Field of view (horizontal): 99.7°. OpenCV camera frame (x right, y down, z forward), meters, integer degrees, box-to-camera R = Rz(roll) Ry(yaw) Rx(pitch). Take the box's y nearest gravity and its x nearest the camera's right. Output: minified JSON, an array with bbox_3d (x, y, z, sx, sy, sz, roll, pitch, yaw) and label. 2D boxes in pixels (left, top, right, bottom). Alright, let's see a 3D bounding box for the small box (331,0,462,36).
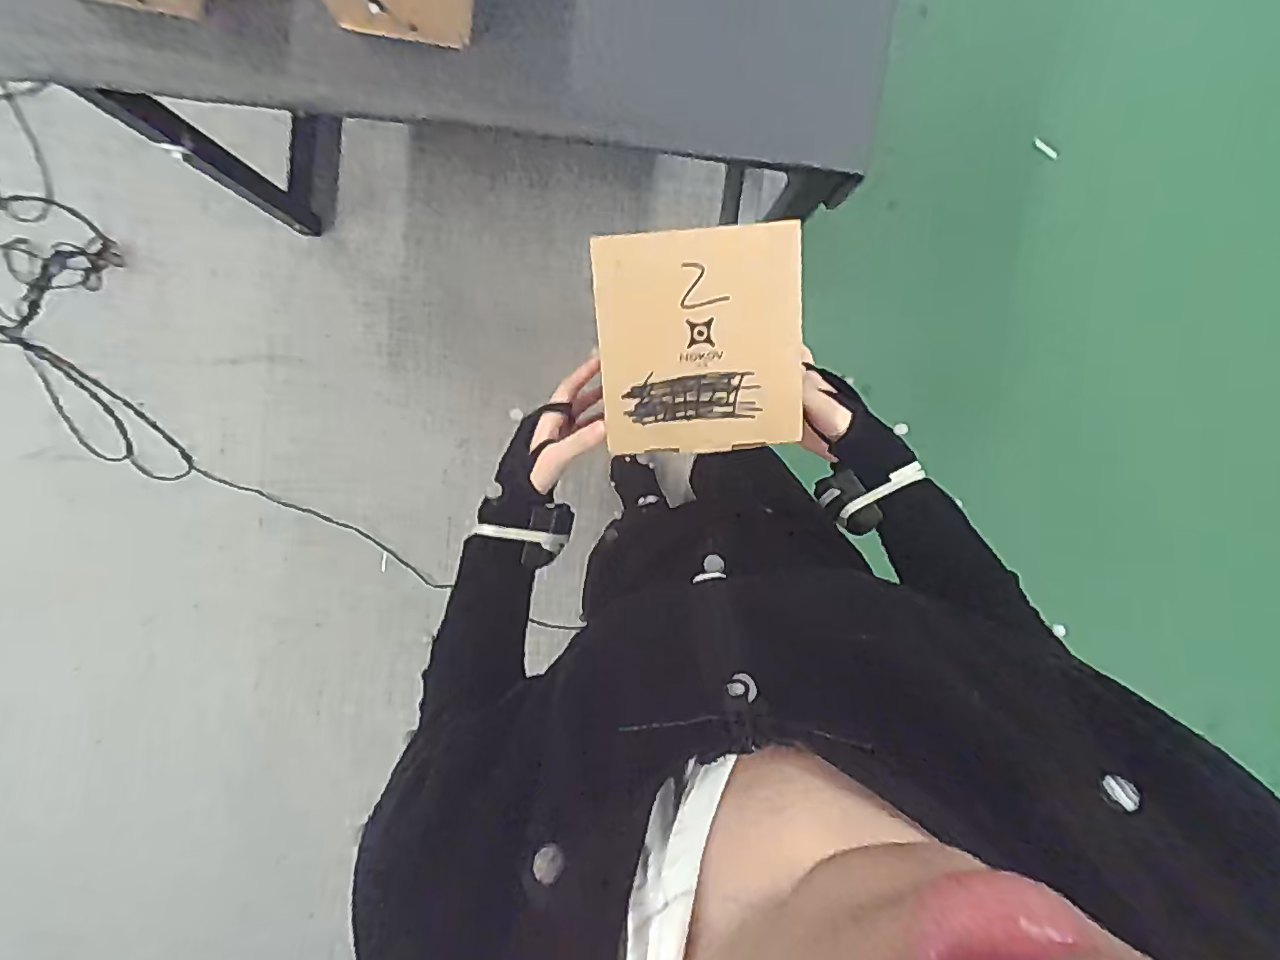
[{"bbox_3d":[-0.293,-0.654,0.597,0.168,0.176,0.179,8,94,-4],"label":"small box"}]
